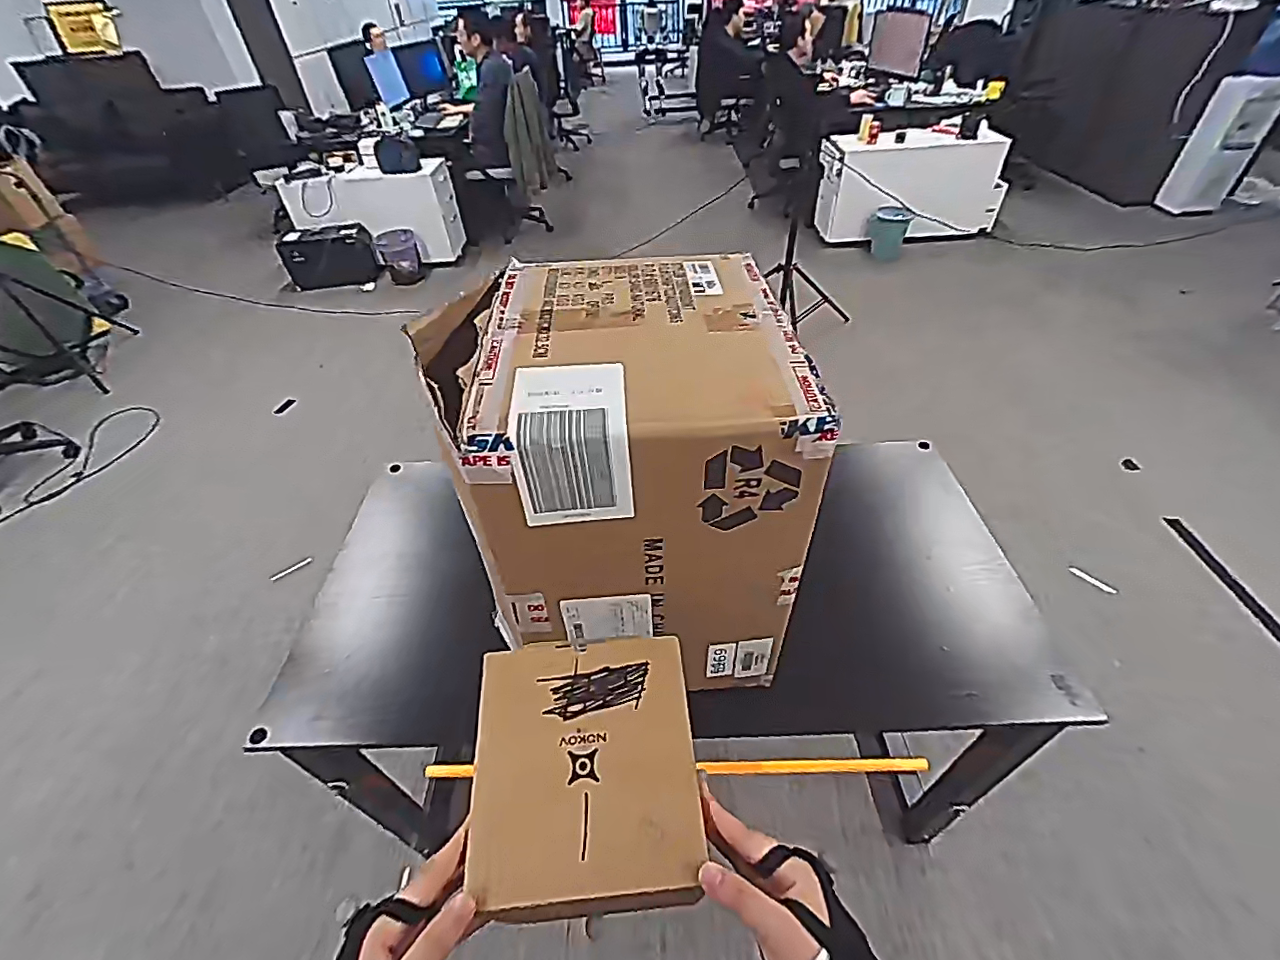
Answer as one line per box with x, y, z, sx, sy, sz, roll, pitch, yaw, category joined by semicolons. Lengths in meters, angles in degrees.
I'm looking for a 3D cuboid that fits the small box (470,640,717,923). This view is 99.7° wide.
-0.034;0.261;0.468;0.168;0.176;0.179;-5;49;-2;small box
